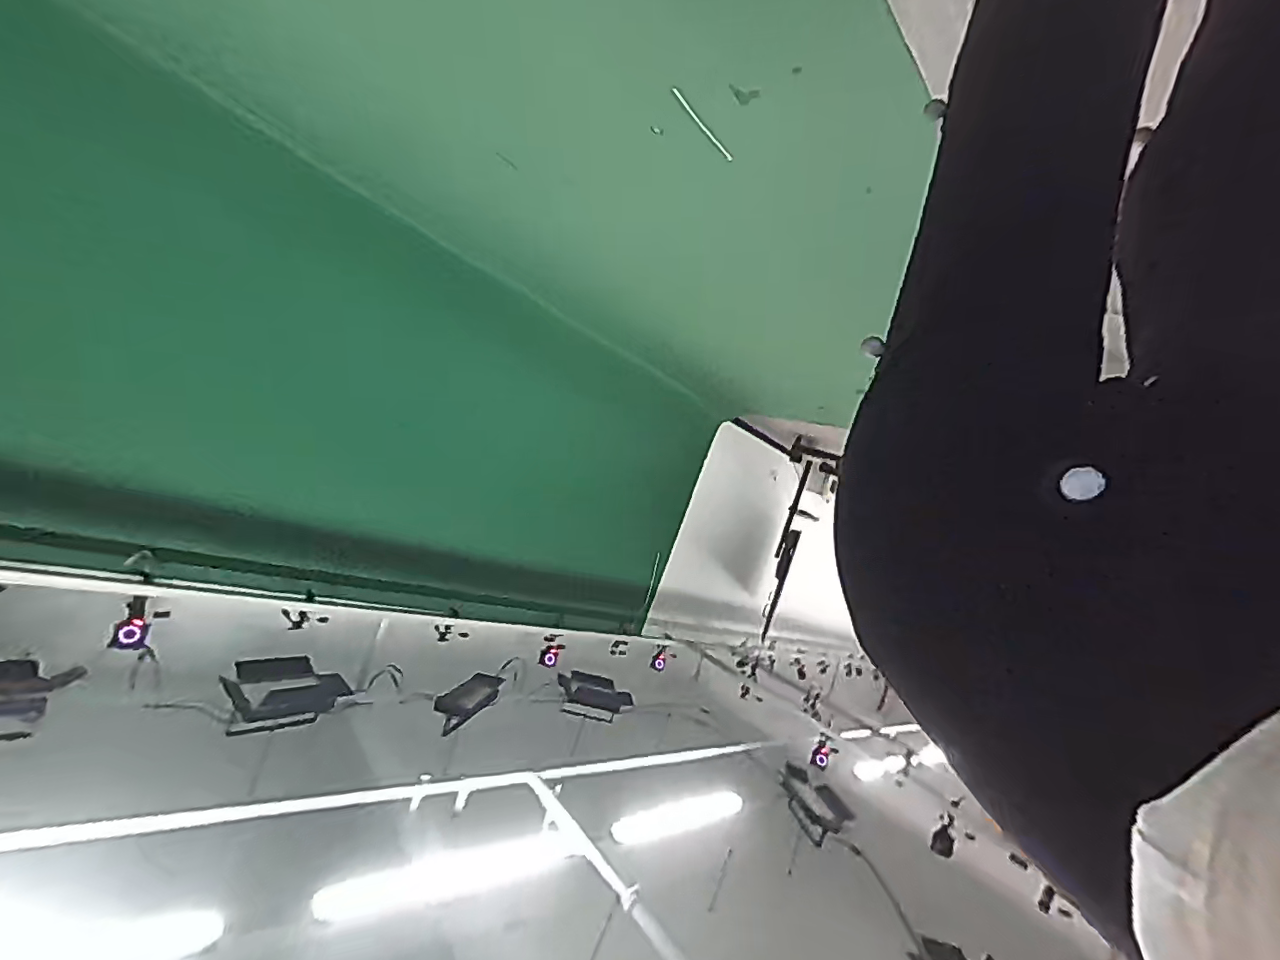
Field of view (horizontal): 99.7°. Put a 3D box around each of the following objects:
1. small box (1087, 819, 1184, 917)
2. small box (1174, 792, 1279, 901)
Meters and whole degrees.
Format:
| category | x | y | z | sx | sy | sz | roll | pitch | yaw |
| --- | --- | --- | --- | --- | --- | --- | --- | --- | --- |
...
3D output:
| category | x | y | z | sx | sy | sz | roll | pitch | yaw |
| --- | --- | --- | --- | --- | --- | --- | --- | --- | --- |
| small box | 1.457 | 1.114 | 1.586 | 0.168 | 0.176 | 0.179 | 19 | 179 | -41 |
| small box | 1.595 | 0.986 | 1.475 | 0.179 | 0.176 | 0.168 | 18 | 180 | -41 |
